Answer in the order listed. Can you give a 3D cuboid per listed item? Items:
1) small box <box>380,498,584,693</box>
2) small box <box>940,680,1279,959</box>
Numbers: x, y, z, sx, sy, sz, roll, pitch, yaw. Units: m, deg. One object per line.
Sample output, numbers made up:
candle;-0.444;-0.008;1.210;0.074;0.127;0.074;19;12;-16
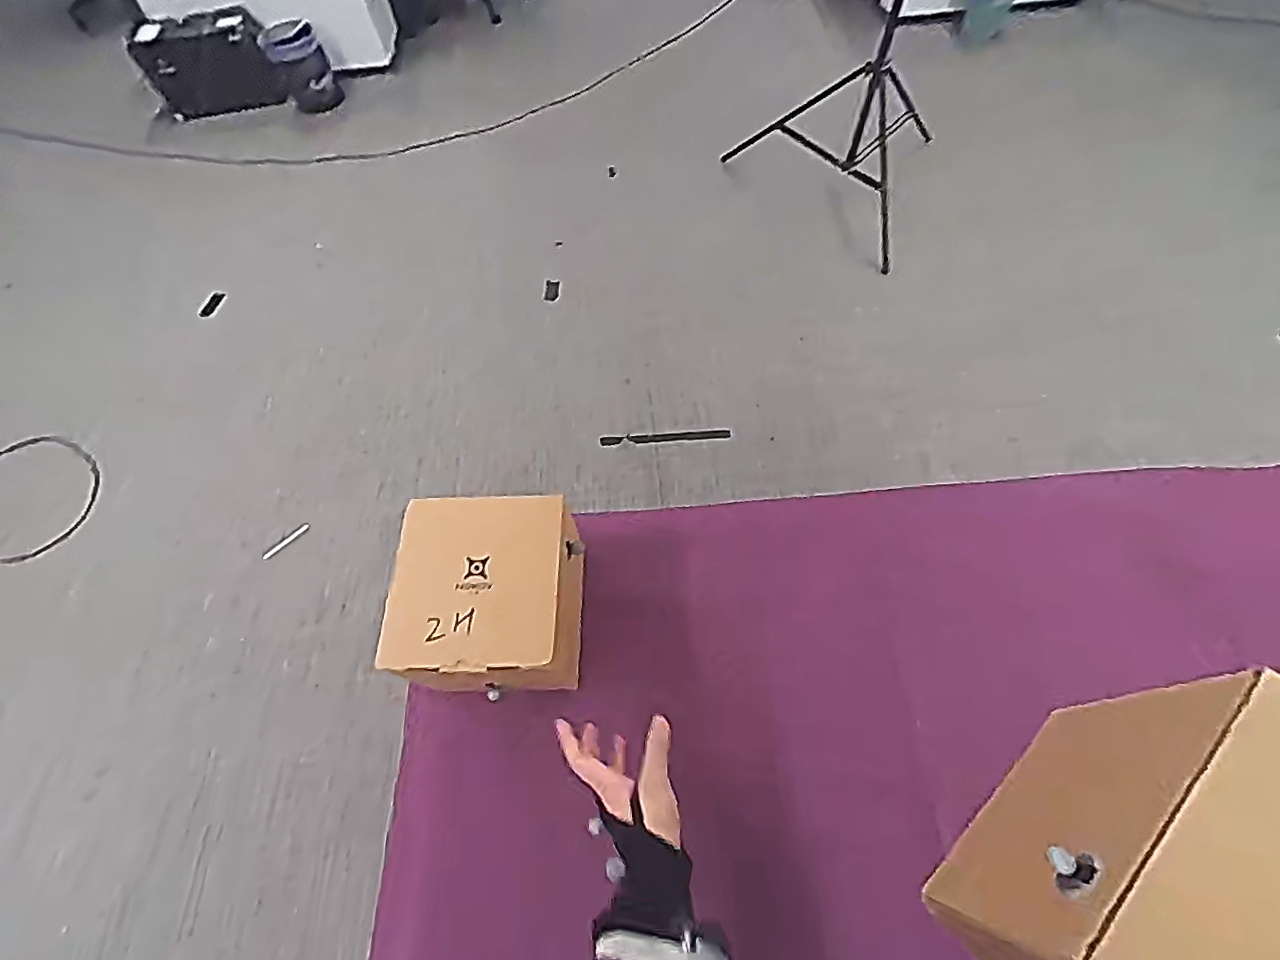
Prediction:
small box;-0.156;0.134;0.602;0.168;0.176;0.179;-2;63;2
small box;0.298;0.236;0.279;0.179;0.176;0.168;-39;65;-16
